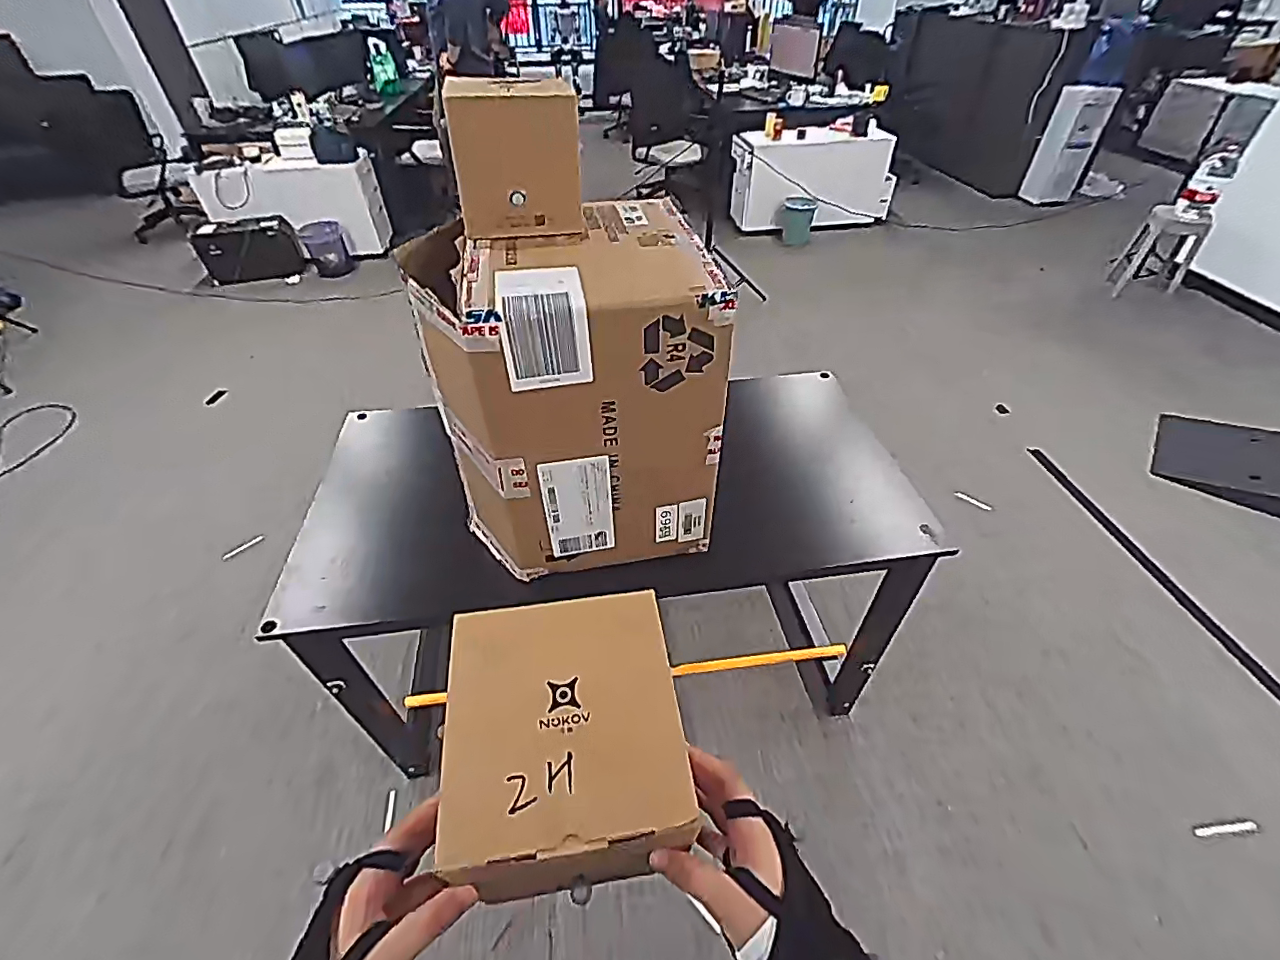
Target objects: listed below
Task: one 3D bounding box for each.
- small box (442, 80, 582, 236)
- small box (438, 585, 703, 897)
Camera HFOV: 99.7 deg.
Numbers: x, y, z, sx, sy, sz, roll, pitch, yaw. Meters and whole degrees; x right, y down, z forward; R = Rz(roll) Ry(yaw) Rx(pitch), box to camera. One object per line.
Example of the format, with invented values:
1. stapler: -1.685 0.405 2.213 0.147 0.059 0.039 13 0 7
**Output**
1. small box: -0.178 -0.462 0.775 0.168 0.176 0.179 -8 42 -10
2. small box: -0.055 0.213 0.446 0.168 0.176 0.179 -6 47 -7
